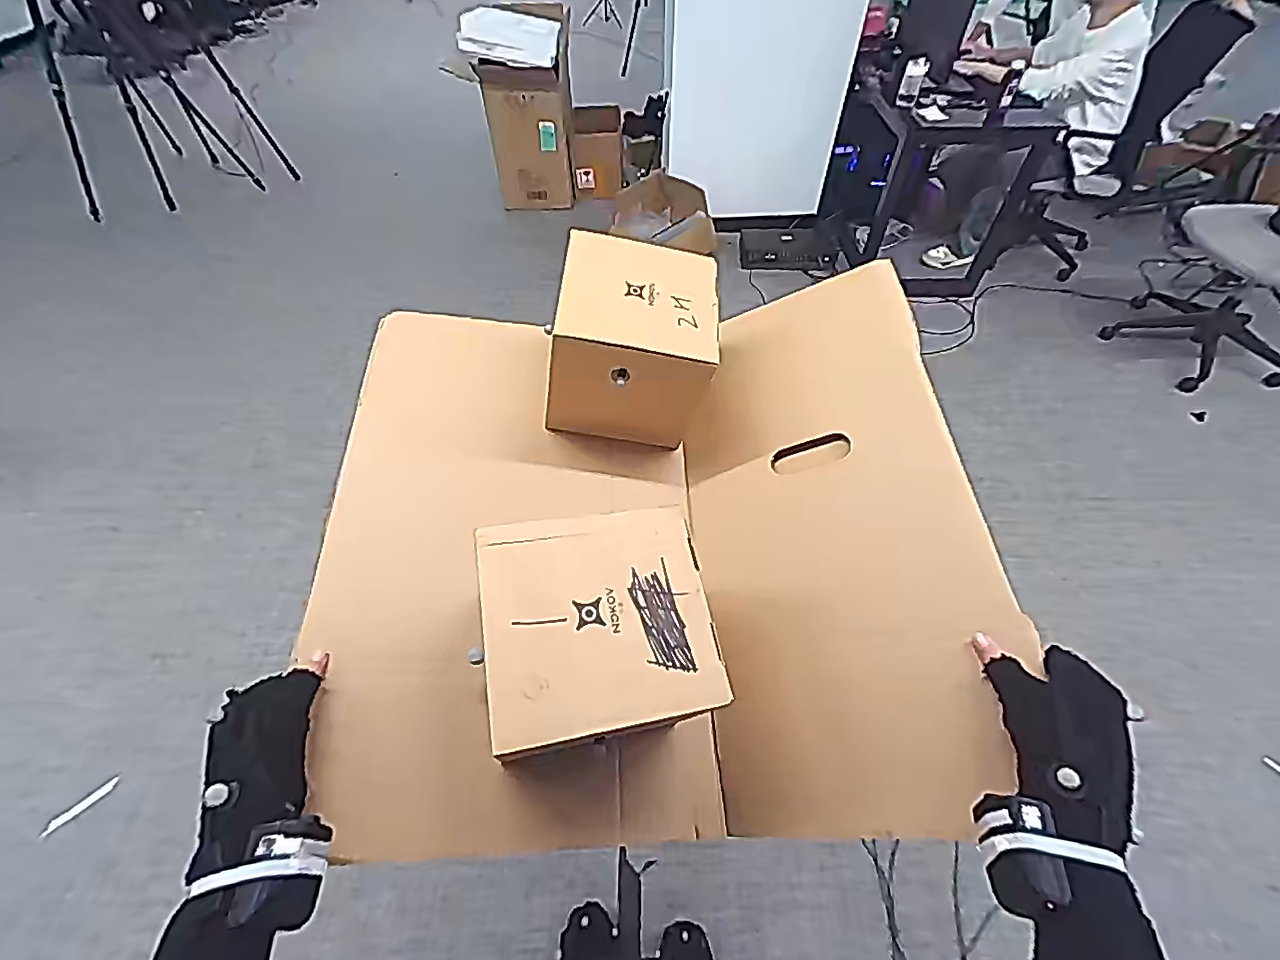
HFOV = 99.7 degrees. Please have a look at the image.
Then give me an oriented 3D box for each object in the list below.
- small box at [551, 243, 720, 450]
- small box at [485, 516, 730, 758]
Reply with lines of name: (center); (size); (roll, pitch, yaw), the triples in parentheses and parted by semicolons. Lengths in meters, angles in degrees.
small box: (-0.010, -0.154, 0.667); (0.179, 0.176, 0.168); (10, 60, -8)
small box: (-0.044, 0.146, 0.492); (0.179, 0.176, 0.168); (-5, 63, -15)
